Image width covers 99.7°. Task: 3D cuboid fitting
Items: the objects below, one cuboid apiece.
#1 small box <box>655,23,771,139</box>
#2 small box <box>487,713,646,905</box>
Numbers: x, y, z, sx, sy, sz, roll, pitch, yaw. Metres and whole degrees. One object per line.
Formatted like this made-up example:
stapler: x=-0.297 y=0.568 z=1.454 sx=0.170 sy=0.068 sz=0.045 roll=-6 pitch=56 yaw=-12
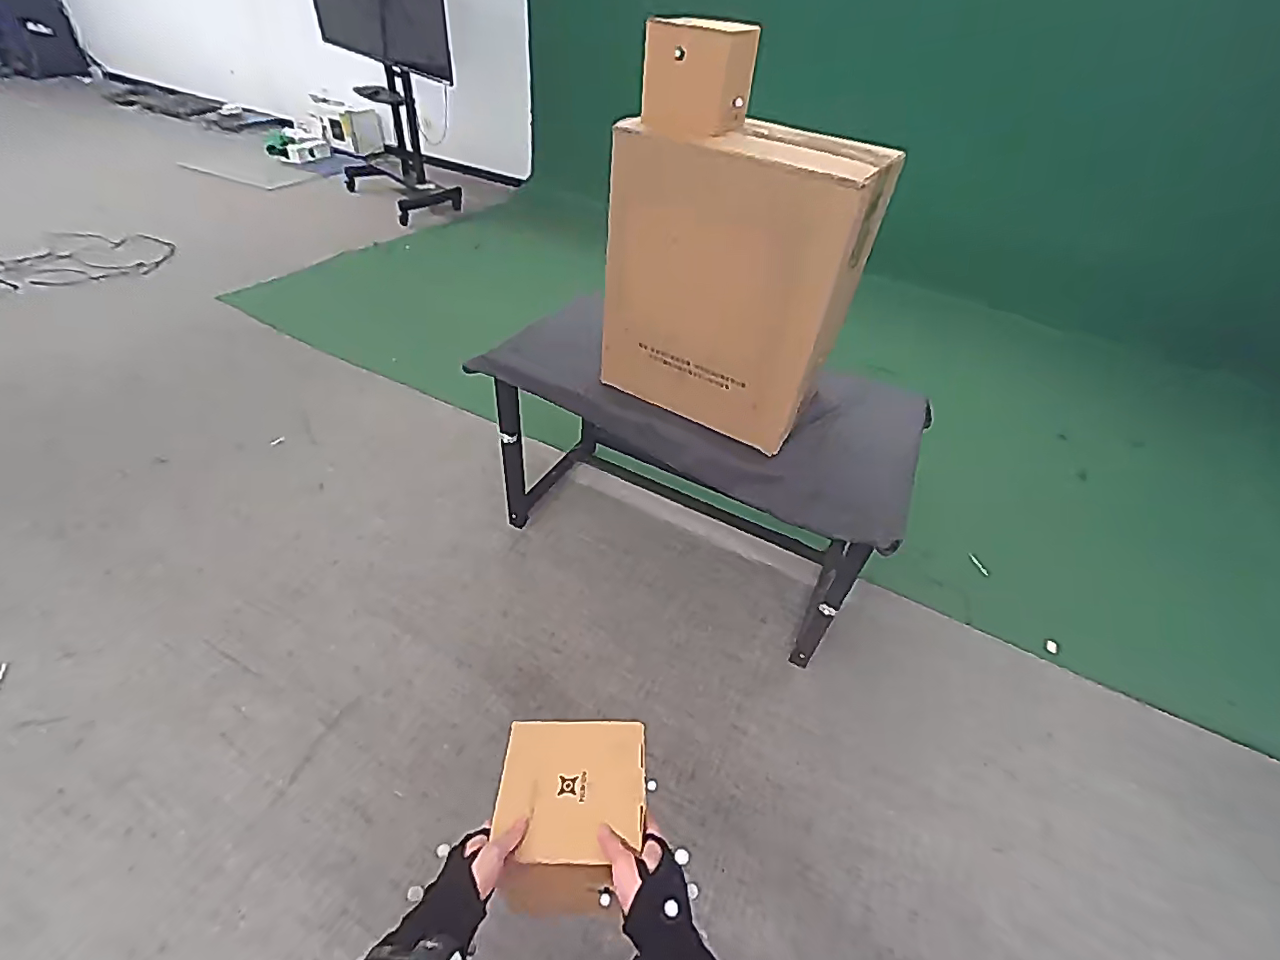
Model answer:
small box: x=0.142 y=-0.822 z=1.115 sx=0.179 sy=0.176 sz=0.168 roll=26 pitch=49 yaw=21
small box: x=-0.080 y=0.428 z=0.709 sx=0.179 sy=0.176 sz=0.168 roll=-1 pitch=35 yaw=2
